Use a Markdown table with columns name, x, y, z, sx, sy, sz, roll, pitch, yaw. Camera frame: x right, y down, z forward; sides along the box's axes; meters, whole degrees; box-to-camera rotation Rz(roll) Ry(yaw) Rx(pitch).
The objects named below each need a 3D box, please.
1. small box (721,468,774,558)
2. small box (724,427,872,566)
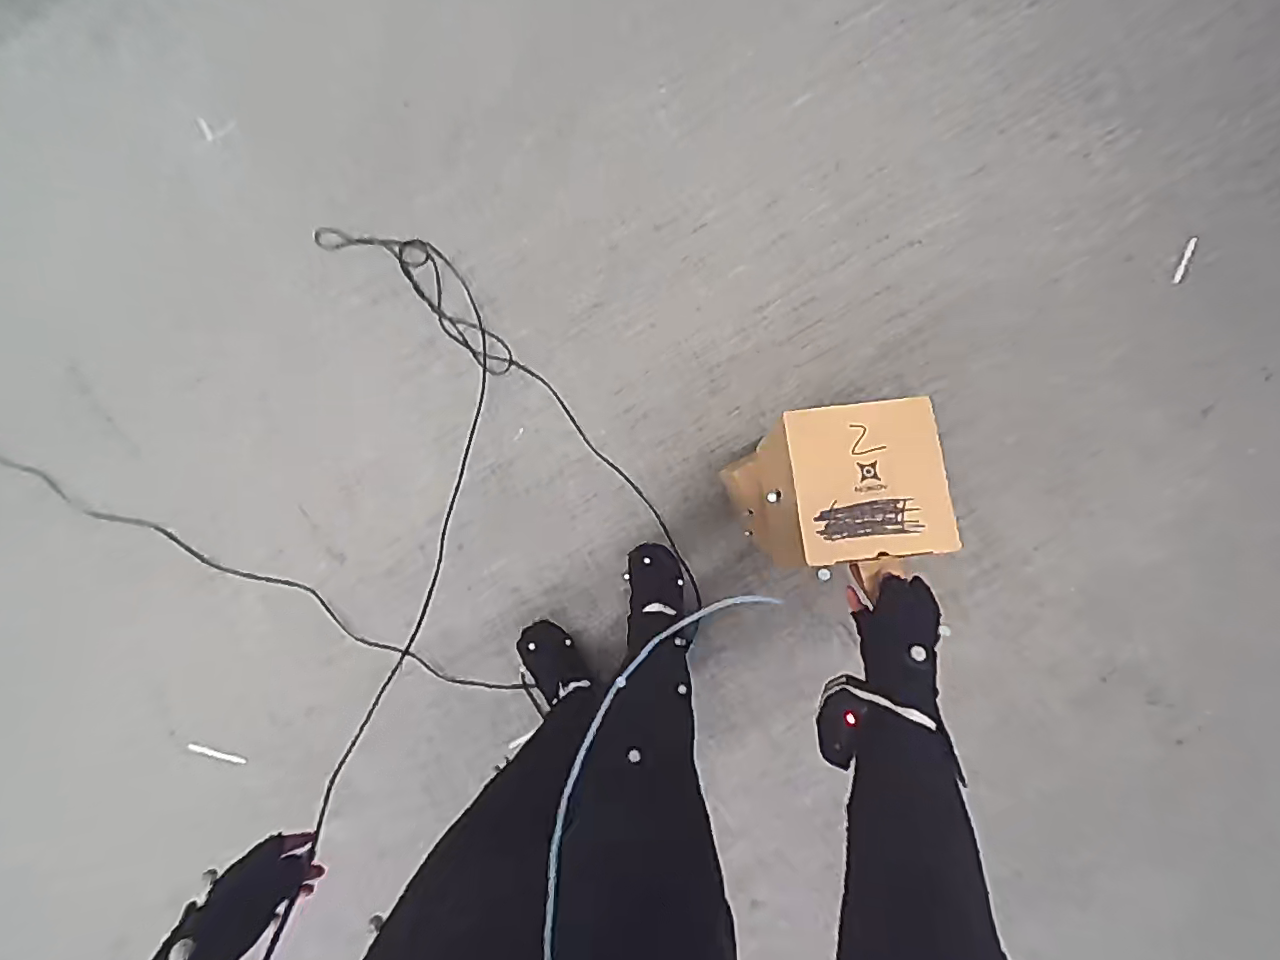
| name | x | y | z | sx | sy | sz | roll | pitch | yaw |
| --- | --- | --- | --- | --- | --- | --- | --- | --- | --- |
| small box | 0.281 | 0.035 | 1.111 | 0.168 | 0.176 | 0.179 | -26 | 91 | 2 |
| small box | 0.263 | 0.026 | 0.946 | 0.168 | 0.176 | 0.179 | -29 | 91 | 3 |
